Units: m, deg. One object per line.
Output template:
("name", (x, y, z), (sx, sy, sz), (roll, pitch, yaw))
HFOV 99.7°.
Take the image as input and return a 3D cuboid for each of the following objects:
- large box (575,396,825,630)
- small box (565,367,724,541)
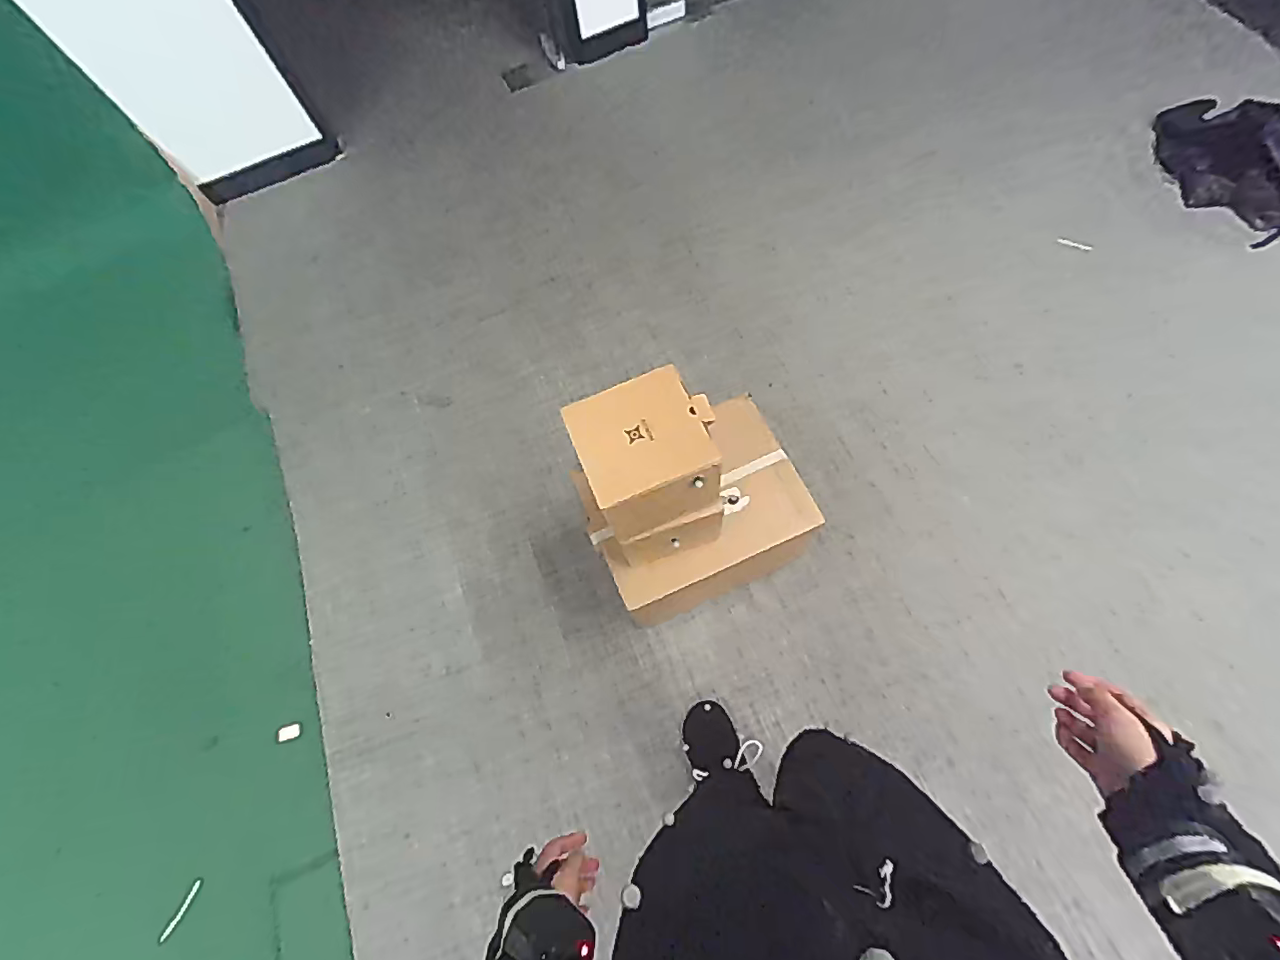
("large box", (0.118, 0.088, 1.182), (0.408, 0.320, 0.320), (-24, 69, -5))
("small box", (0.011, -0.029, 0.799), (0.179, 0.176, 0.168), (-23, 68, -4))
